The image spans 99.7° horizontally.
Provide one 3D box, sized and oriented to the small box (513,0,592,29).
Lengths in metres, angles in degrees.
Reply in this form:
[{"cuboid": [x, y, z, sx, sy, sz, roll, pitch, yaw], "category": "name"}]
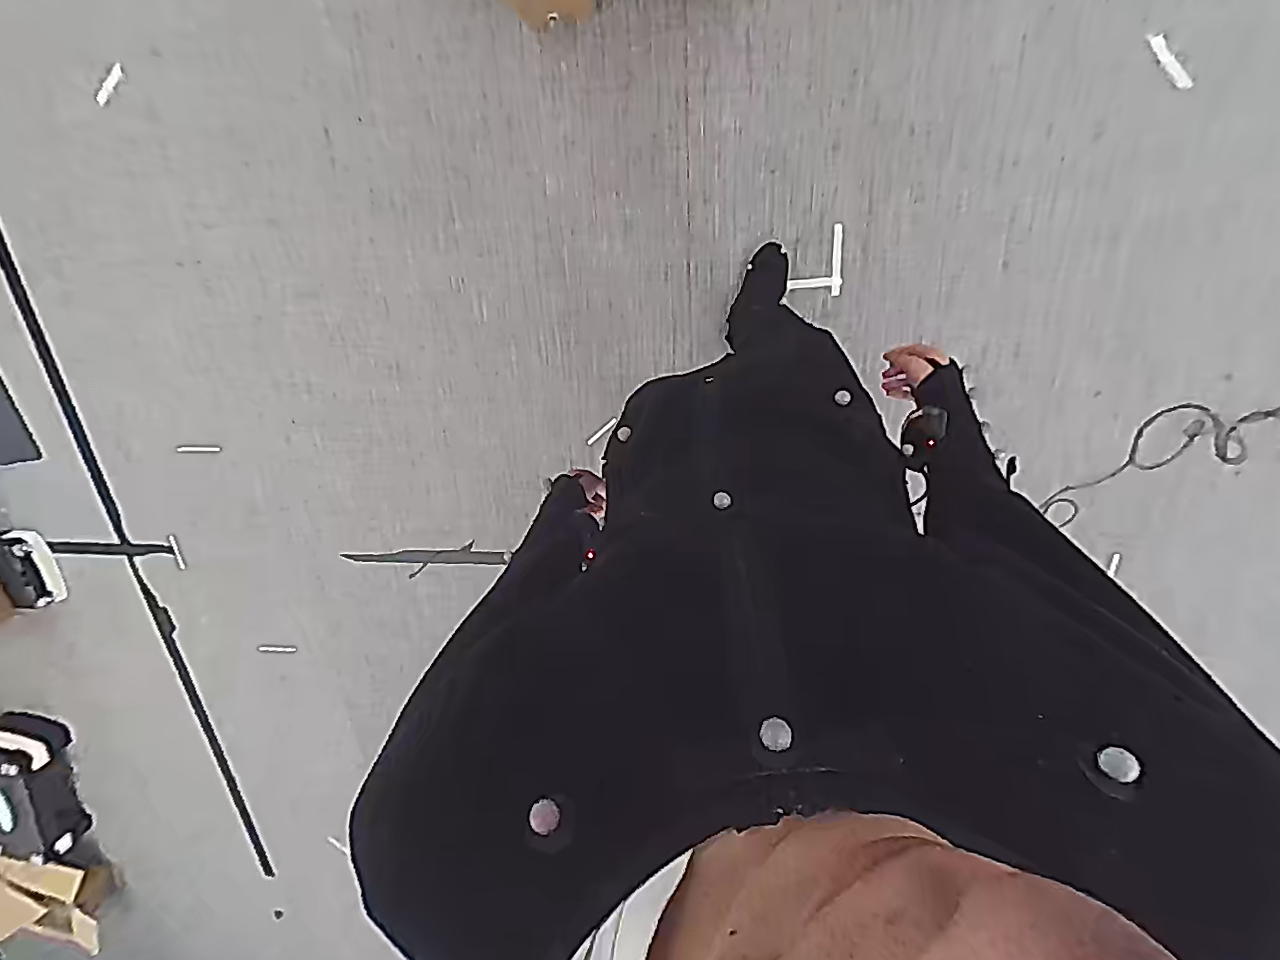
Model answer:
[{"cuboid": [-0.210, -1.146, 1.189, 0.168, 0.176, 0.179, -6, 110, 8], "category": "small box"}]
